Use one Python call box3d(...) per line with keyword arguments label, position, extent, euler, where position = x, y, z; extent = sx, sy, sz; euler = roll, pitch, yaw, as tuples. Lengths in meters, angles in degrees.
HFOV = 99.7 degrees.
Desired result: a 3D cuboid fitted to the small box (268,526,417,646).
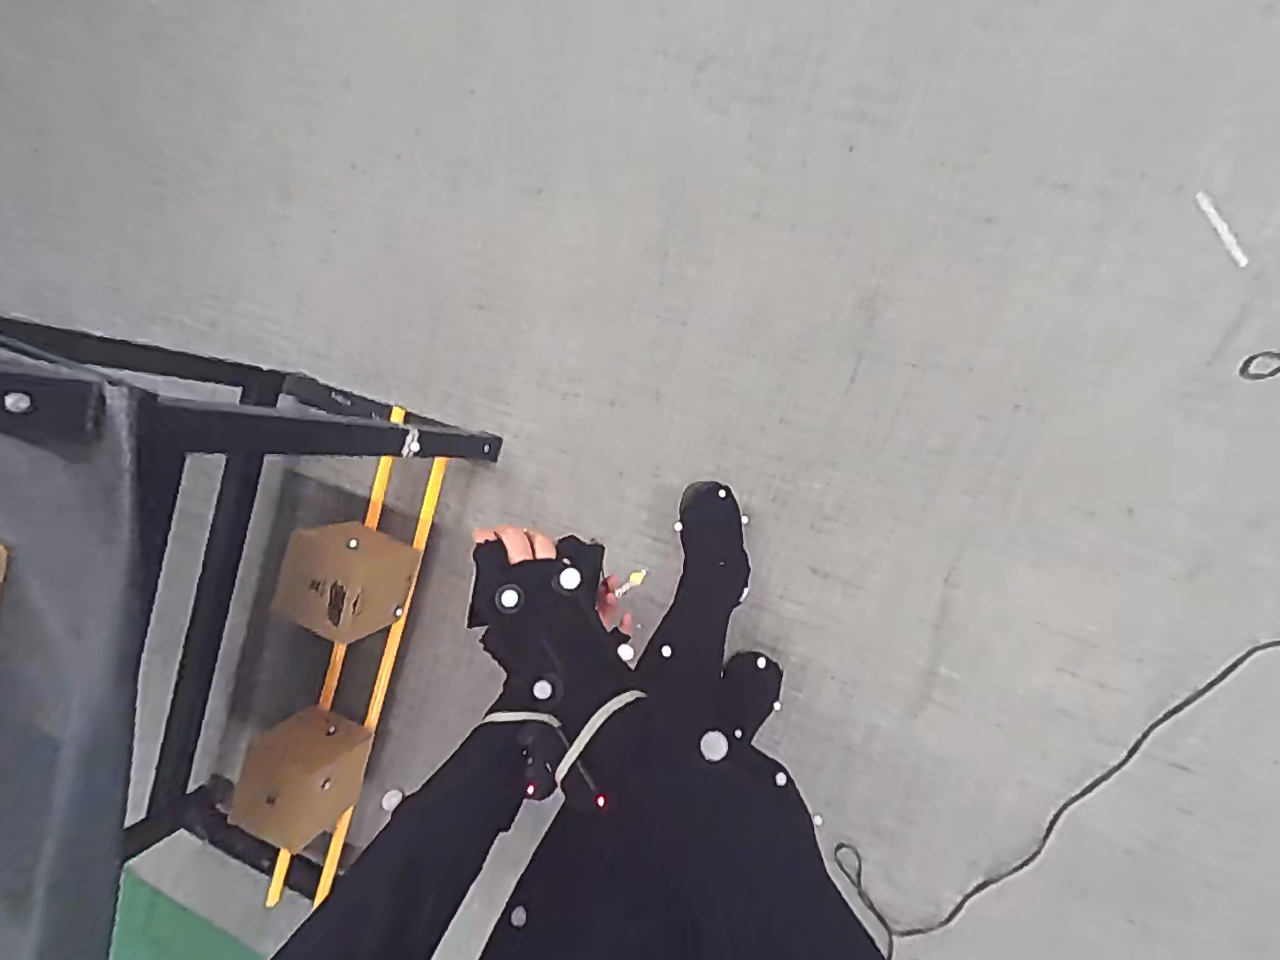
box3d(label="small box", position=(-0.583, 0.199, 1.081), extent=(0.179, 0.176, 0.168), euler=(22, 96, 11))
